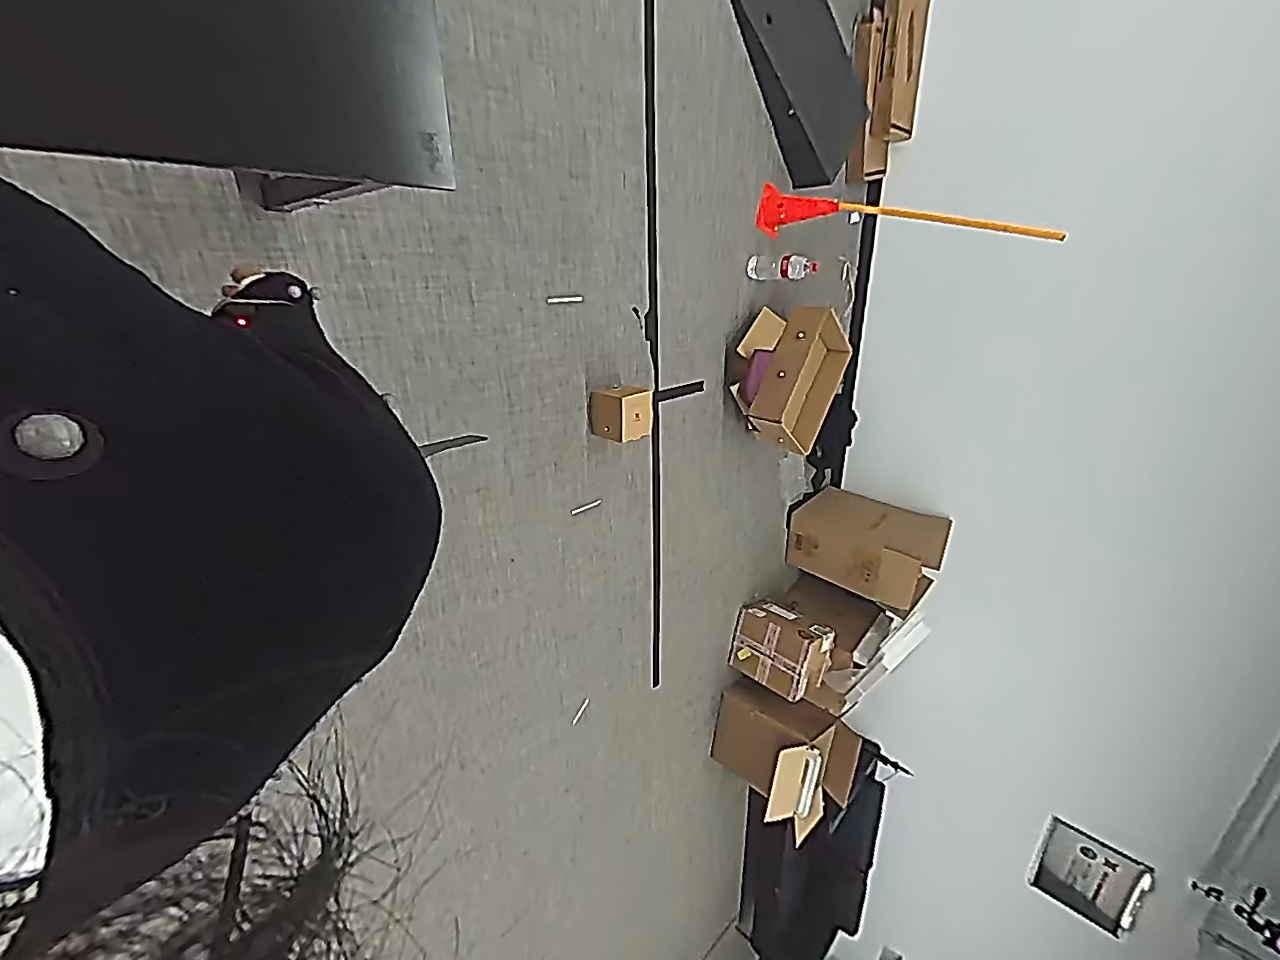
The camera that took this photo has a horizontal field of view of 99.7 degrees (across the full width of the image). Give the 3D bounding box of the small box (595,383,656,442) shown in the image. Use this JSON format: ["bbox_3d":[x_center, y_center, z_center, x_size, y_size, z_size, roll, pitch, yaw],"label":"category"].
[{"bbox_3d":[-0.056,-0.262,2.059,0.168,0.176,0.179,-23,120,-42],"label":"small box"}]
